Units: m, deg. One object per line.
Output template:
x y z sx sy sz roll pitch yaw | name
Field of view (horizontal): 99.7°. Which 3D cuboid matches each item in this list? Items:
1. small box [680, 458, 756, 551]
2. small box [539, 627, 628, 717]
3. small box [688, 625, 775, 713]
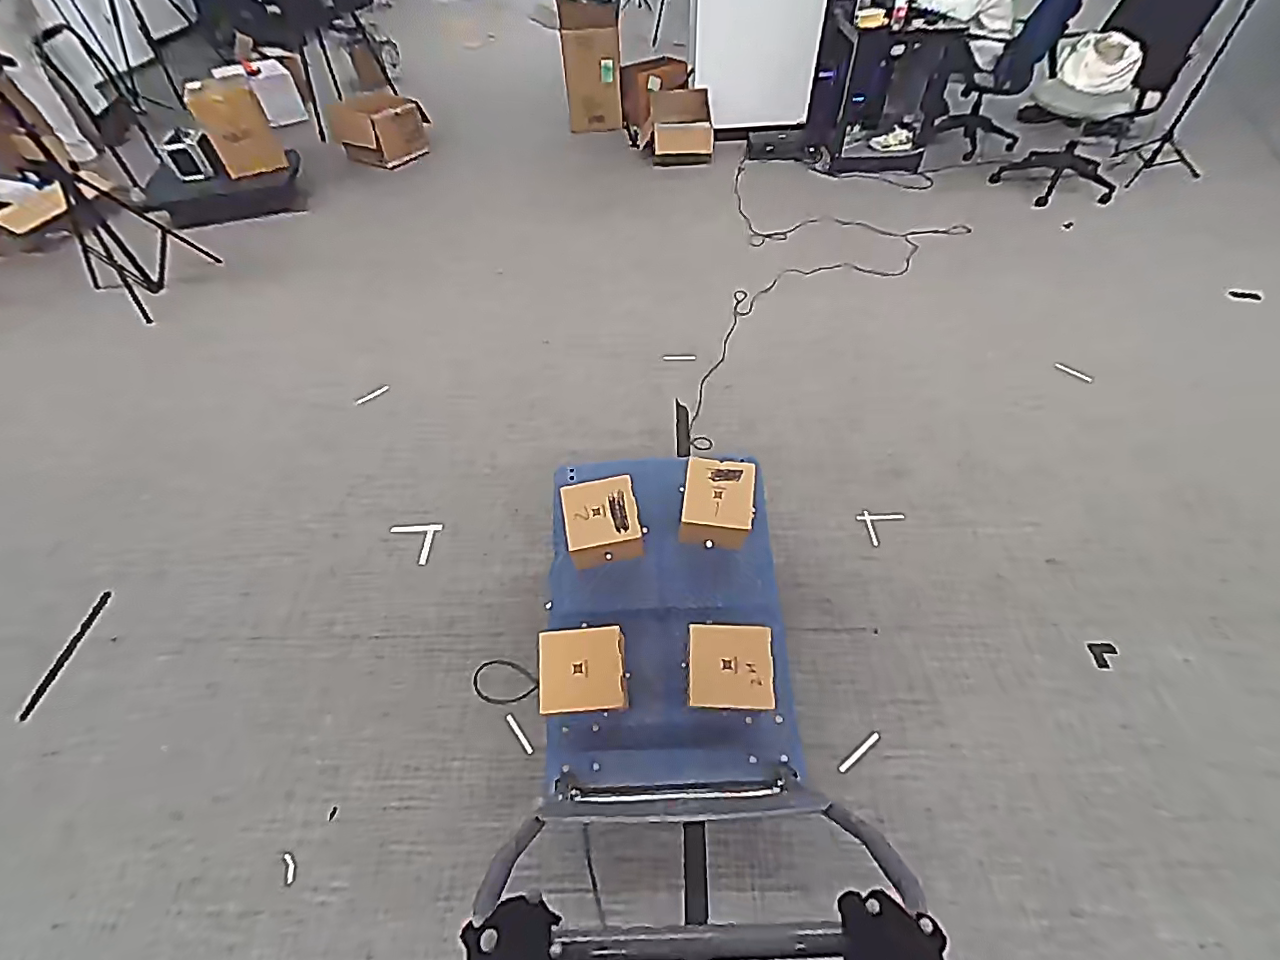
0.193 0.064 1.368 0.168 0.176 0.179 7 67 6 | small box
-0.122 0.434 1.210 0.179 0.176 0.168 -5 65 -2 | small box
0.195 0.423 1.201 0.179 0.176 0.168 1 66 3 | small box
